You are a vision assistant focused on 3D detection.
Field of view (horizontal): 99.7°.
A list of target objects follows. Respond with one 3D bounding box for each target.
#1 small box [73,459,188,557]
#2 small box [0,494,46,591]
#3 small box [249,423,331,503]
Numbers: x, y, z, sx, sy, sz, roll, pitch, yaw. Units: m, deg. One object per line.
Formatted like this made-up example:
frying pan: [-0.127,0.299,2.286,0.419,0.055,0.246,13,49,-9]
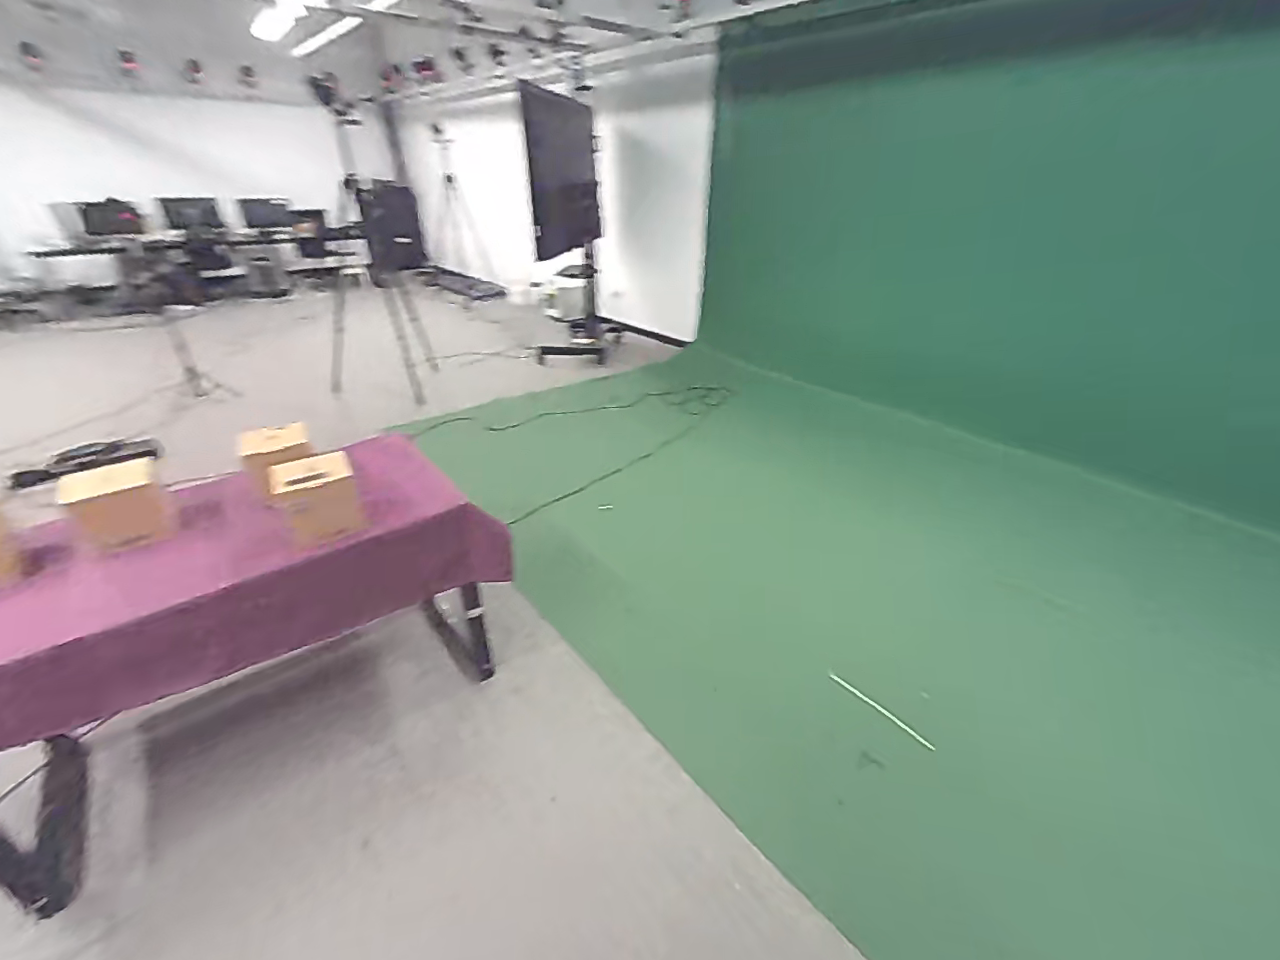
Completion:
small box: [-1.302,0.071,1.395,0.168,0.176,0.179,-21,36,-31]
small box: [-1.524,0.160,1.235,0.179,0.176,0.168,-20,35,-32]
small box: [-1.031,-0.046,1.596,0.168,0.176,0.179,-16,34,-27]
